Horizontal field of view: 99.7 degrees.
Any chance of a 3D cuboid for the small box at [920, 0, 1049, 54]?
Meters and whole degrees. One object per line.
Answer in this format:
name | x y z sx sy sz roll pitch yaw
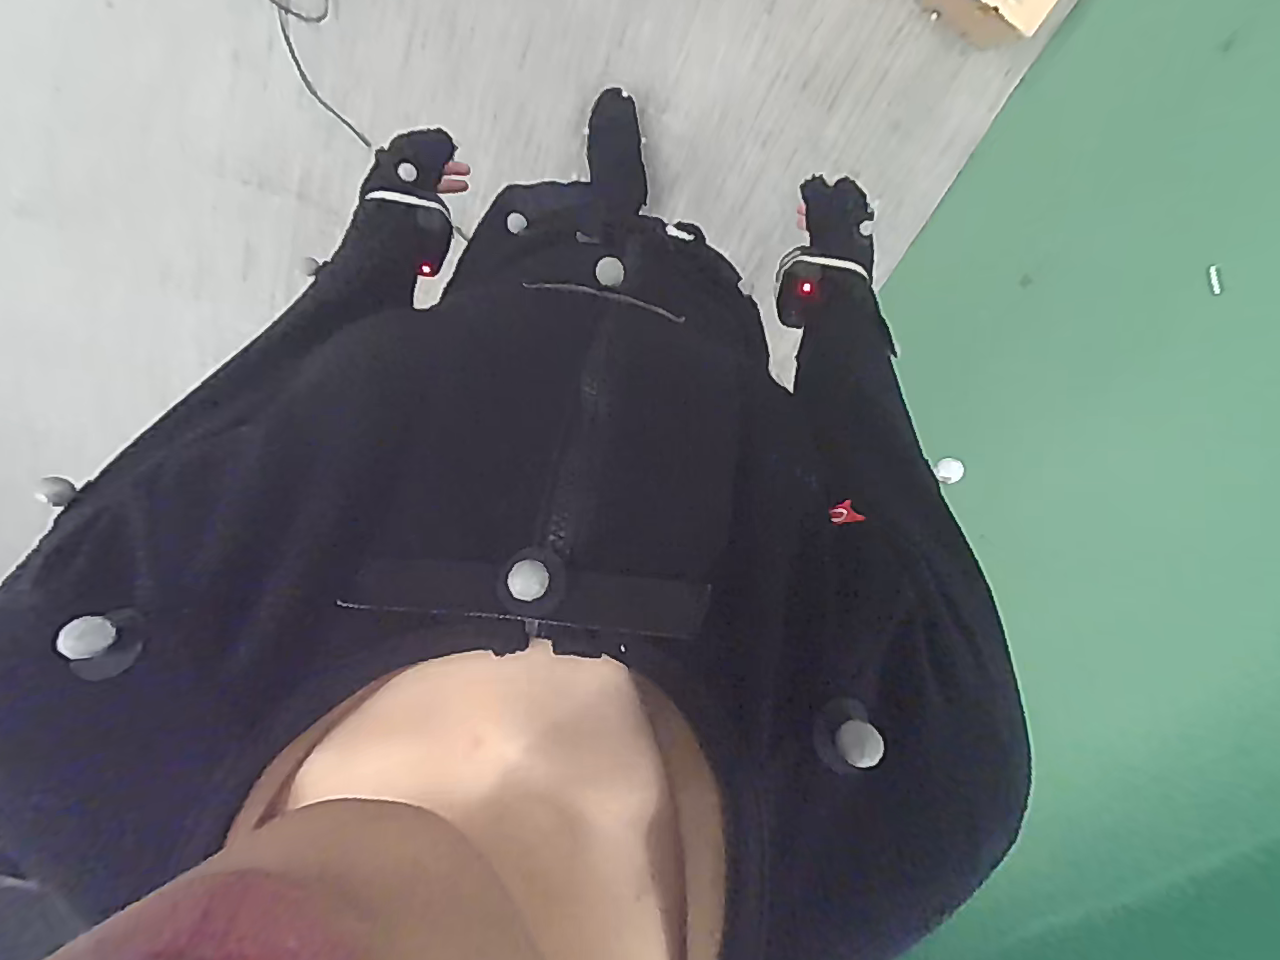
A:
small box | 0.631 -0.898 0.956 0.168 0.176 0.179 24 119 -12
